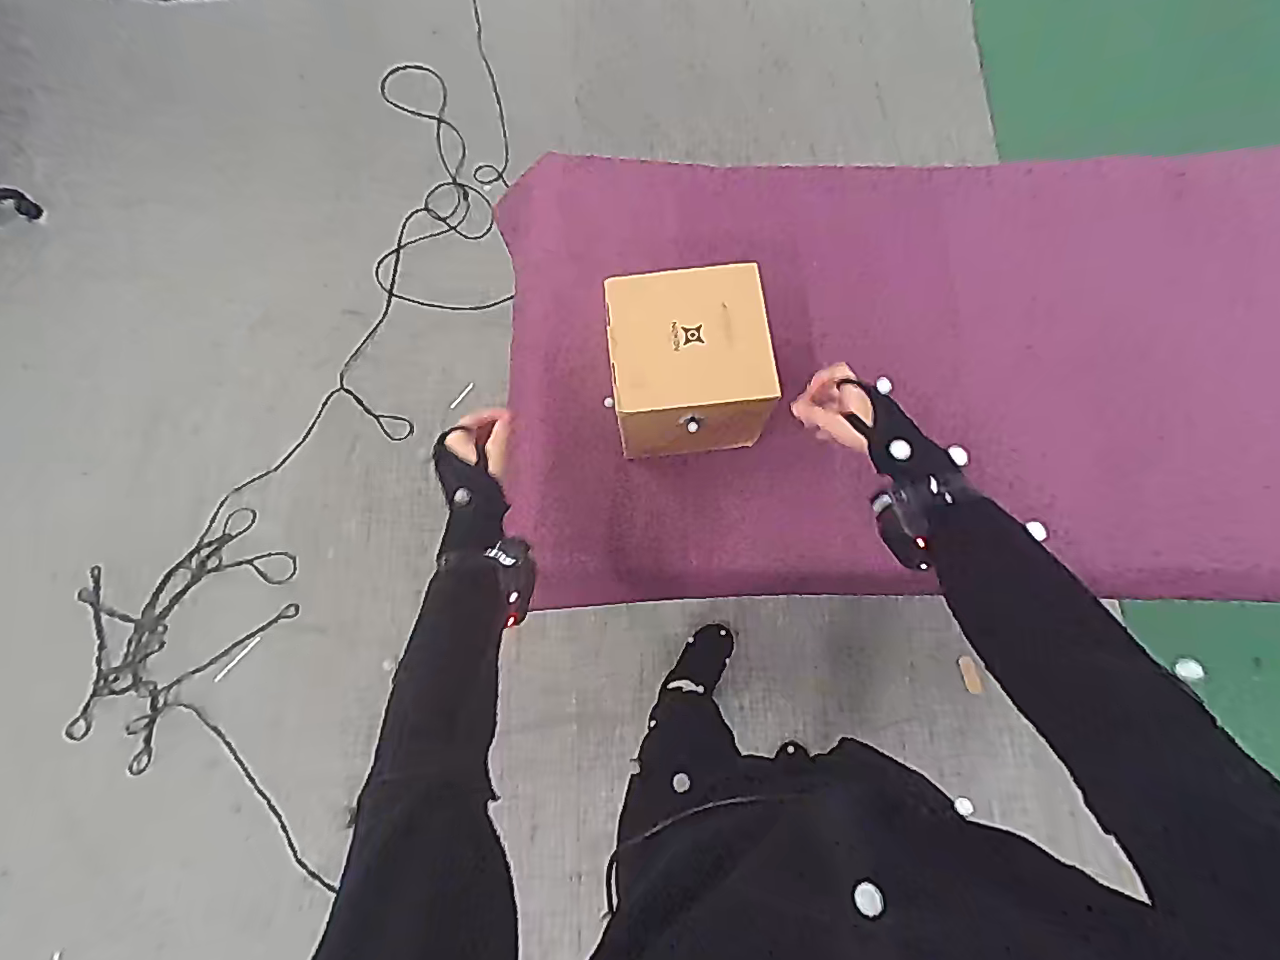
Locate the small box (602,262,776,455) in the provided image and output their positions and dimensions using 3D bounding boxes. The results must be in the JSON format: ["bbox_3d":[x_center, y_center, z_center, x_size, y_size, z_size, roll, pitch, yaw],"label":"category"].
[{"bbox_3d":[0.053,-0.136,0.658,0.179,0.176,0.168,-5,75,1],"label":"small box"}]
